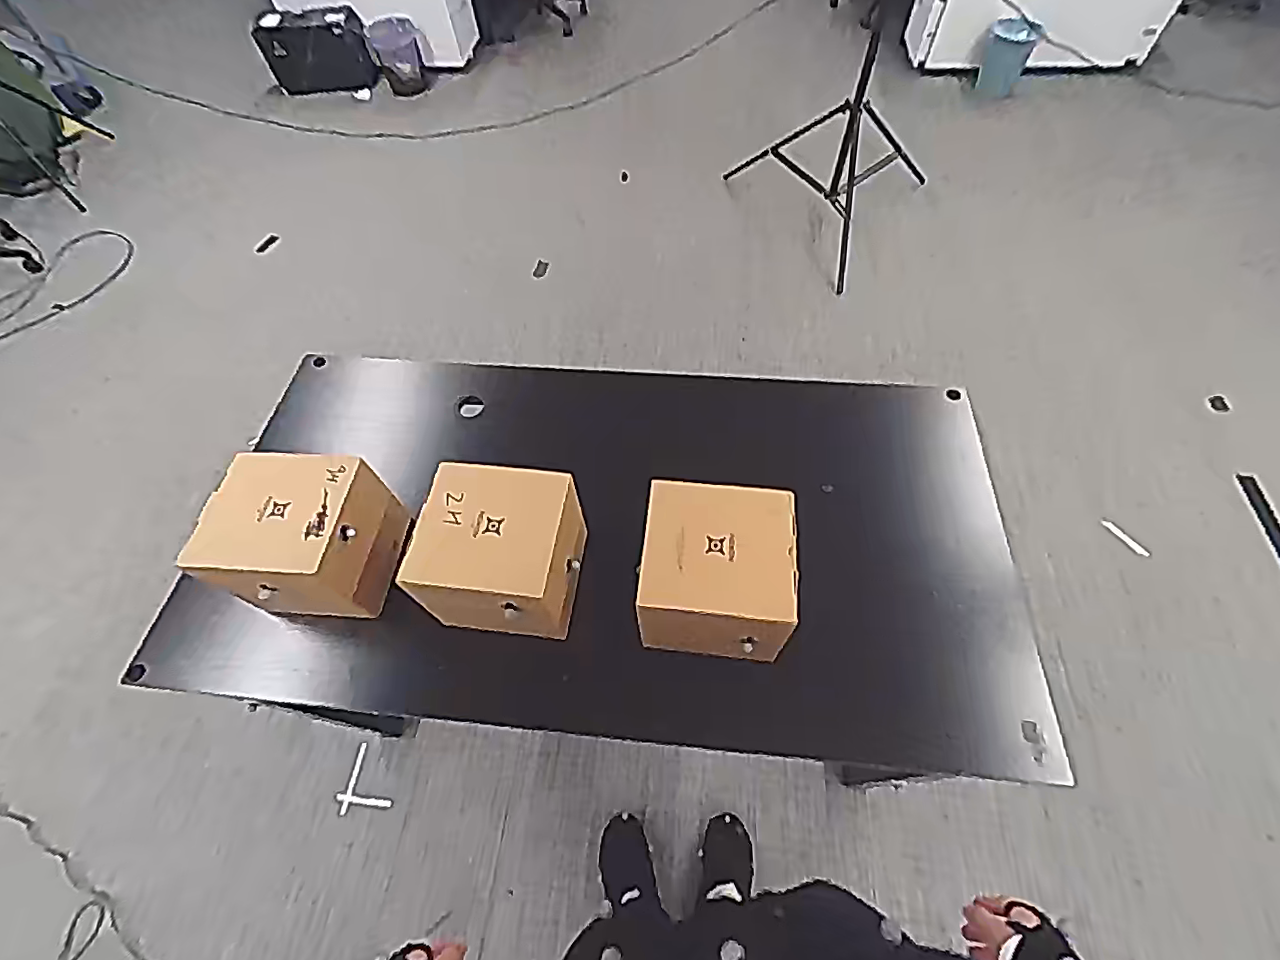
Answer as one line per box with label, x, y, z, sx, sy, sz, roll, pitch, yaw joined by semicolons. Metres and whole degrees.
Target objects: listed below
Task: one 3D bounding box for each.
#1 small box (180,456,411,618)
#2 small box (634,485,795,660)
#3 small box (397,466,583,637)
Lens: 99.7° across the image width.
small box;-0.451;0.083;0.743;0.179;0.176;0.168;2;59;4
small box;0.093;0.124;0.692;0.179;0.176;0.168;4;57;7
small box;-0.179;0.100;0.717;0.179;0.176;0.168;5;58;6
